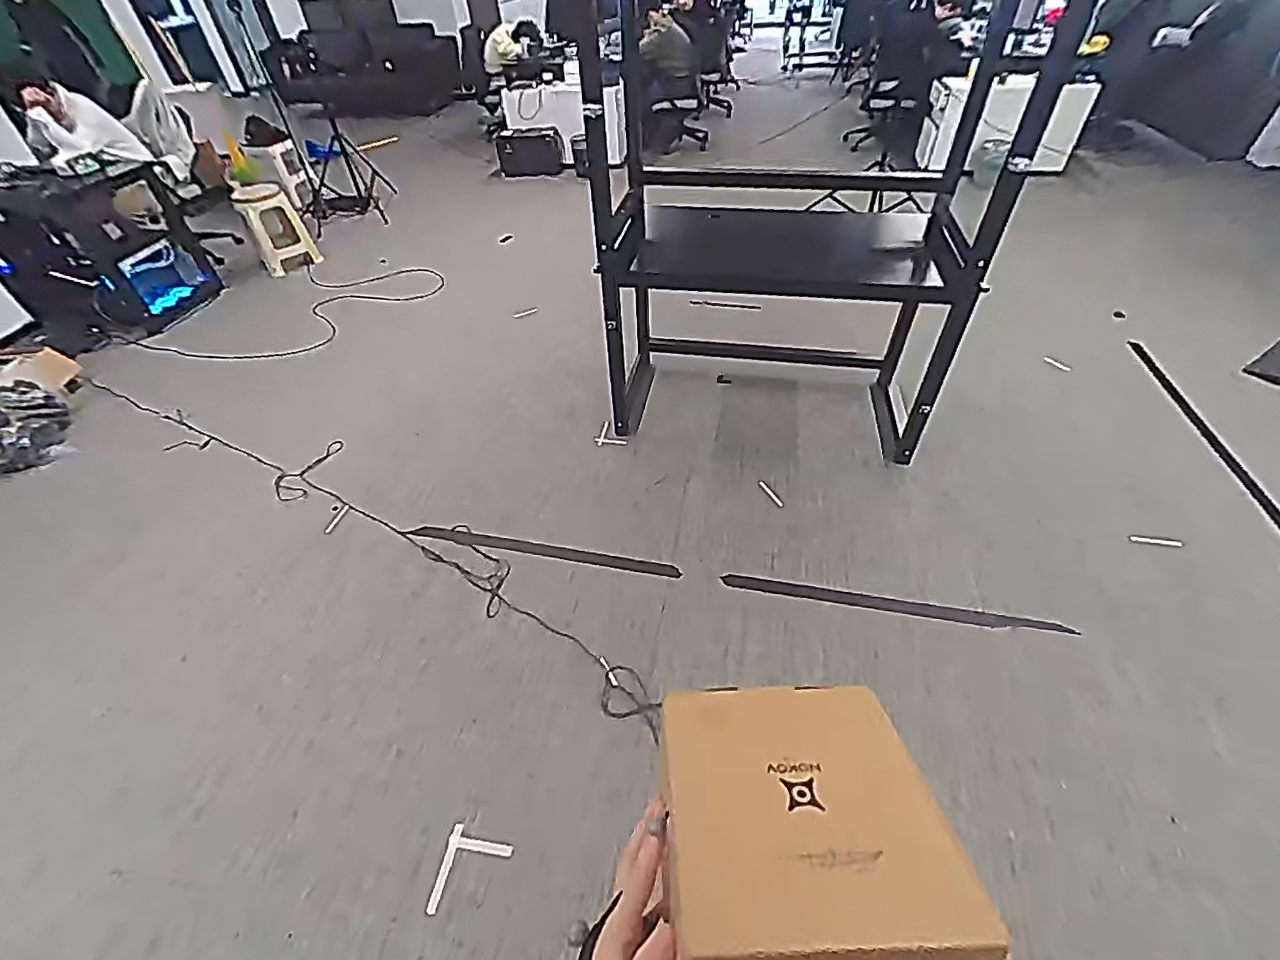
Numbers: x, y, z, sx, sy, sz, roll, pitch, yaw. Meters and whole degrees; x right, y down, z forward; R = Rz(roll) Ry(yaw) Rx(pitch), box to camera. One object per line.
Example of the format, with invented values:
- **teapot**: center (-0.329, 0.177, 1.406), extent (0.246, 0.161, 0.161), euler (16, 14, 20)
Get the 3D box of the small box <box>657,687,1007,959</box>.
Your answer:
- **small box**: center (0.099, 0.270, 0.374), extent (0.168, 0.176, 0.179), euler (-1, 23, -2)
